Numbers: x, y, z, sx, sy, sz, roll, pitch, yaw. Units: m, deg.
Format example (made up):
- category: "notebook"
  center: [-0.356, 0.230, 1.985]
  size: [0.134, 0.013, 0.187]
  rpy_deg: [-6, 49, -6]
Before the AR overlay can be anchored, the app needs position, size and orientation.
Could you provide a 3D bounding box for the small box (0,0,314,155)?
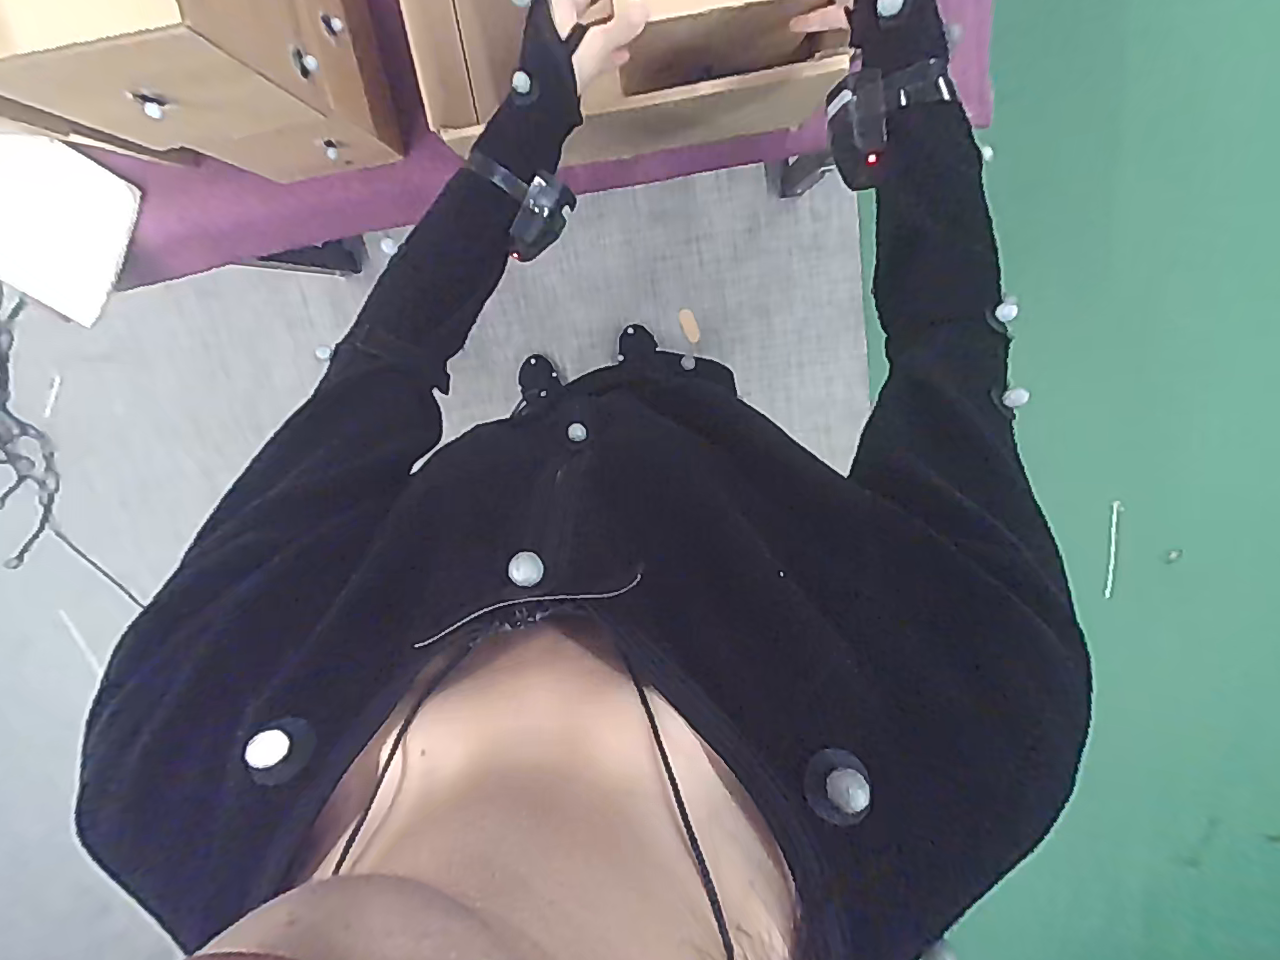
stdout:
- category: "small box"
  center: [-0.387, -0.375, 0.412]
  size: [0.179, 0.176, 0.168]
  rpy_deg: [-9, 105, 3]
